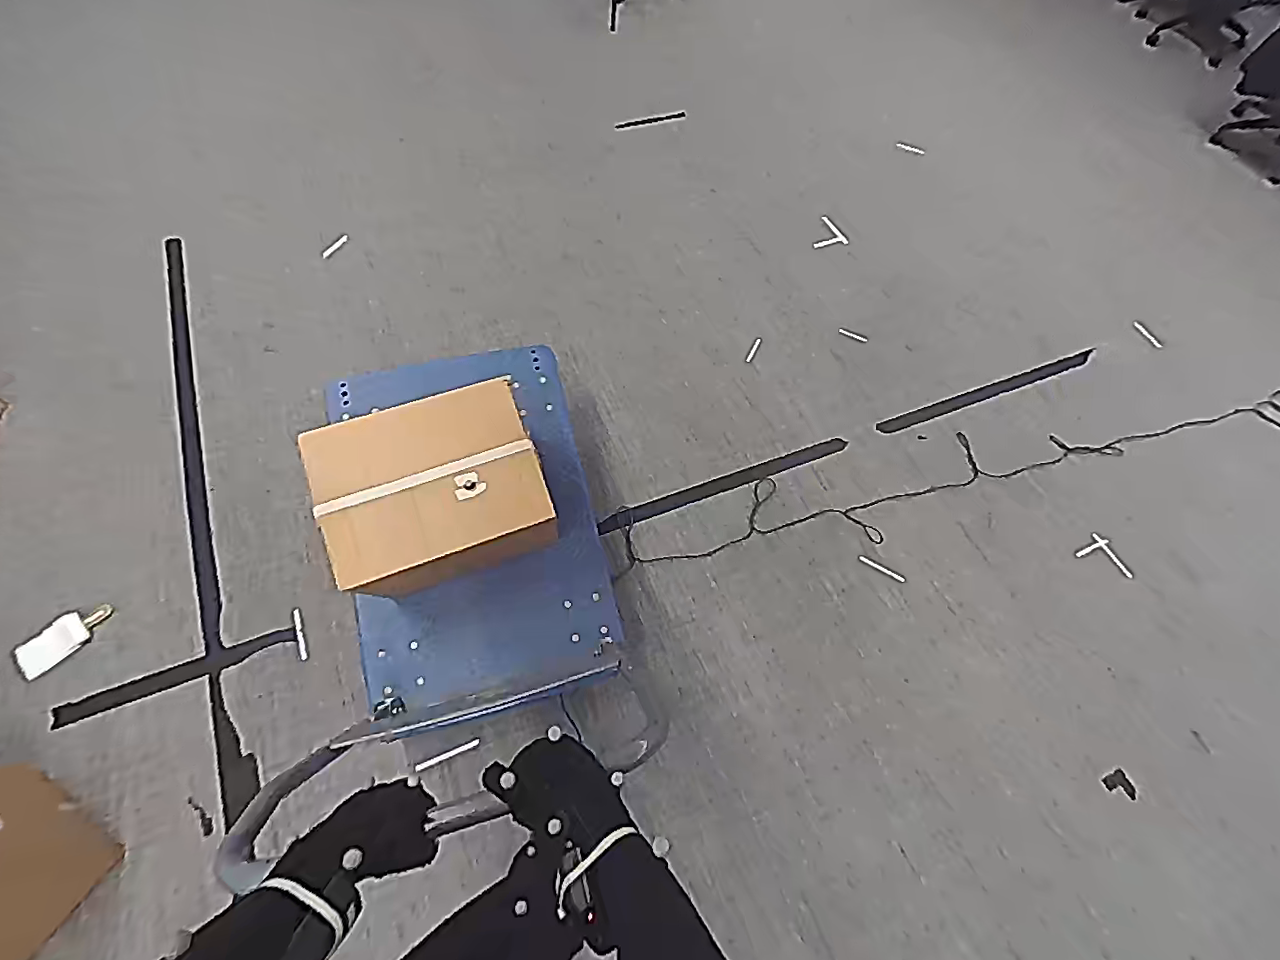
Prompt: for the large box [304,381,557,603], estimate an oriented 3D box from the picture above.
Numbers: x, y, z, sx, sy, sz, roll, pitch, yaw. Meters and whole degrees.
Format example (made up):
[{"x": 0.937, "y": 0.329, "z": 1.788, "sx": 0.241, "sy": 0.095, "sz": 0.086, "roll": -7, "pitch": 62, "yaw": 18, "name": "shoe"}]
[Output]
[{"x": -0.420, "y": 0.041, "z": 1.175, "sx": 0.408, "sy": 0.320, "sz": 0.320, "roll": -20, "pitch": 78, "yaw": -14, "name": "large box"}]
